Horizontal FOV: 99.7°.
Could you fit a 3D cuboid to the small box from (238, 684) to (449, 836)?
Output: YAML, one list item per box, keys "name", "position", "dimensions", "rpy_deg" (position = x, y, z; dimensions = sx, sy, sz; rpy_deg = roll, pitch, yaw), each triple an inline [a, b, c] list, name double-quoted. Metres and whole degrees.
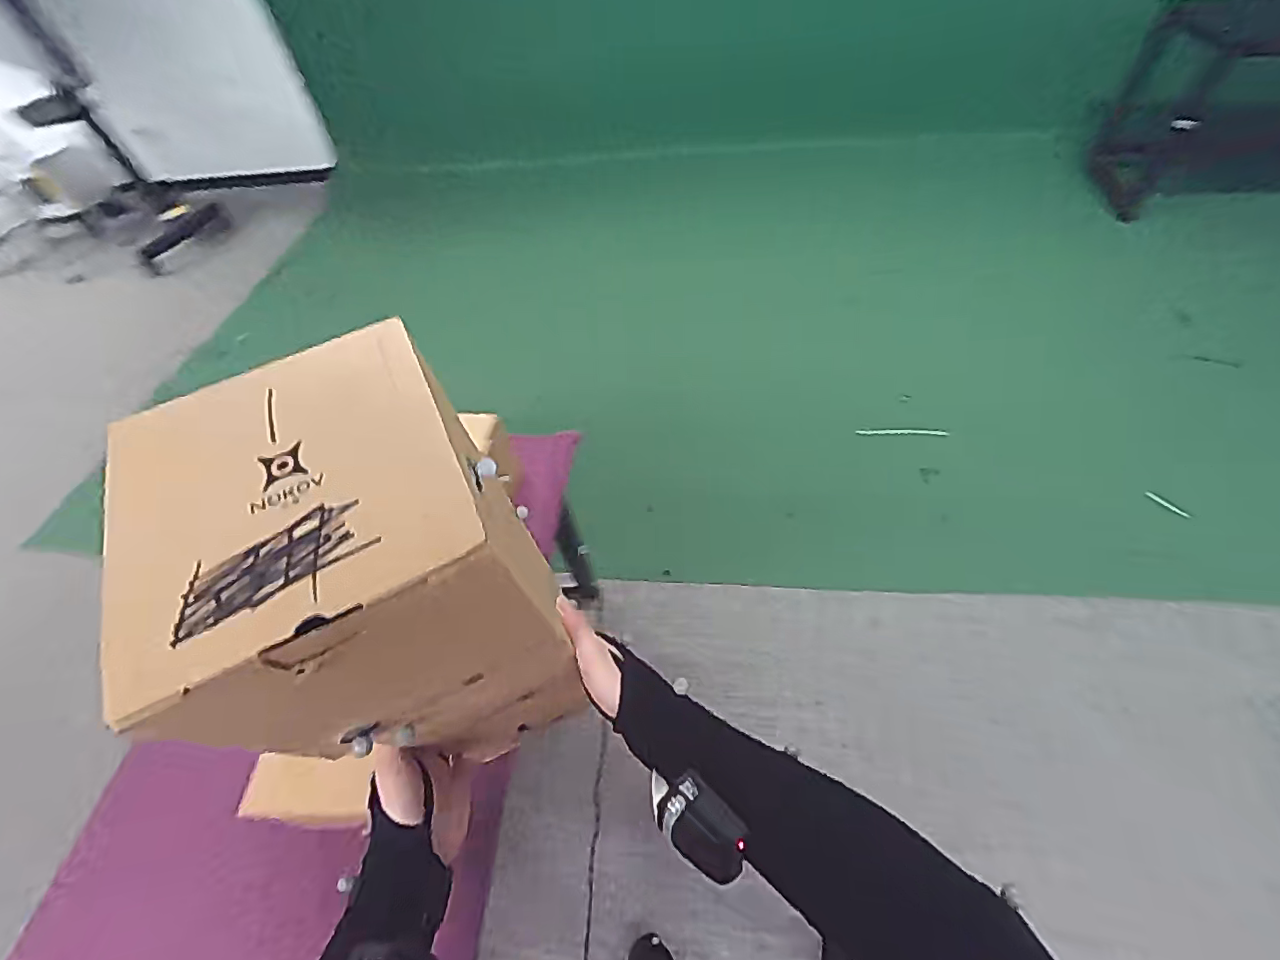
- name: "small box"
  position: [-0.394, 0.395, 0.759]
  dimensions: [0.179, 0.176, 0.168]
  rpy_deg: [-4, 52, 6]

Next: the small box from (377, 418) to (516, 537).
- name: "small box"
  position: [-0.360, -0.001, 1.047]
  dimensions: [0.179, 0.176, 0.168]
  rpy_deg: [2, 54, 11]

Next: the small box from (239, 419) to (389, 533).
- name: "small box"
  position: [-0.633, -0.005, 1.088]
  dimensions: [0.179, 0.176, 0.168]
  rpy_deg: [3, 55, 11]
